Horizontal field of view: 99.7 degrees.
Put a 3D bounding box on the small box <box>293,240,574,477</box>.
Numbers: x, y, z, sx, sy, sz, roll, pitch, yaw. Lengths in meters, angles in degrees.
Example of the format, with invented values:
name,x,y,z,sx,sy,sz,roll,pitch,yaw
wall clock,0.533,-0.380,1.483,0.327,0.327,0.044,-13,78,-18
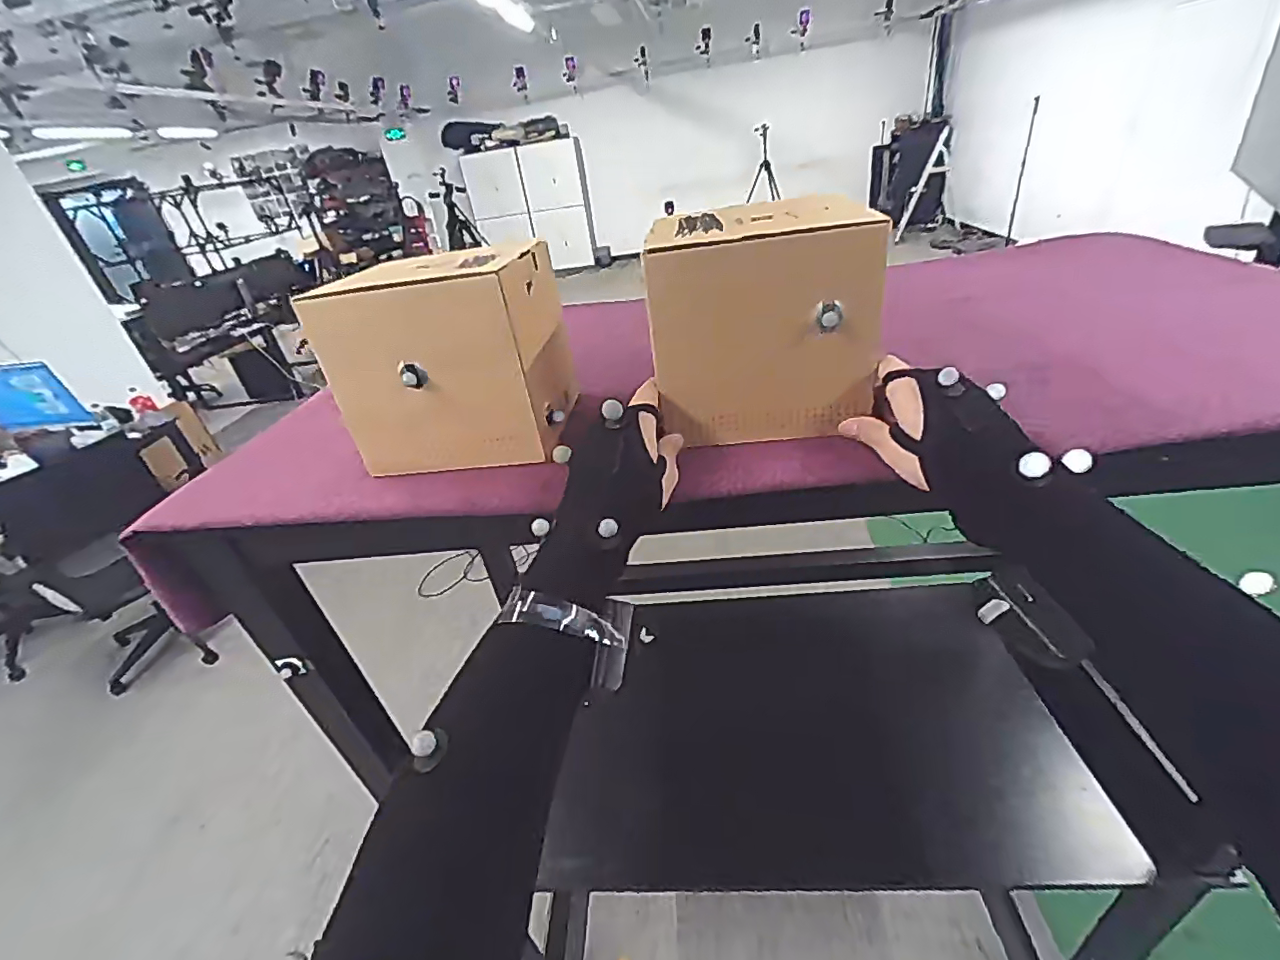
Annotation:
name,x,y,z,sx,sy,sz,roll,pitch,yaw
small box,-0.172,-0.118,0.522,0.179,0.176,0.168,-5,31,8
